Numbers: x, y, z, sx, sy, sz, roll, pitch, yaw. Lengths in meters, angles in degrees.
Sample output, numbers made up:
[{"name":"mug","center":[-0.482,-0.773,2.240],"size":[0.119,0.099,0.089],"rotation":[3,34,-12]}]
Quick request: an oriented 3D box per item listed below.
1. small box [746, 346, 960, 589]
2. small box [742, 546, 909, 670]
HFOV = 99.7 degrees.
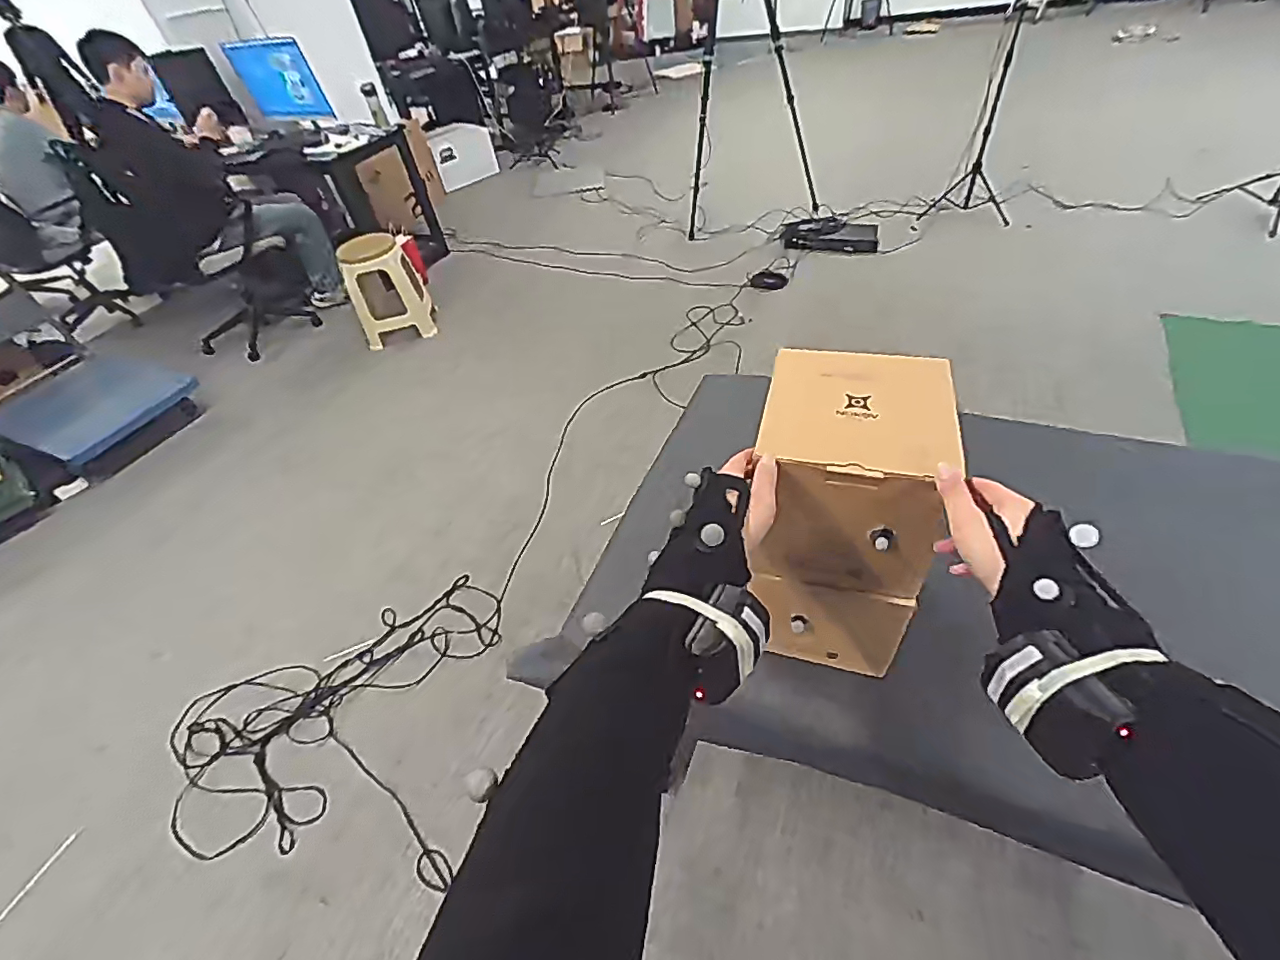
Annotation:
[{"name":"small box","center":[0.204,-0.014,0.551],"size":[0.168,0.176,0.179],"rotation":[9,46,15]},{"name":"small box","center":[0.223,0.105,0.661],"size":[0.168,0.176,0.179],"rotation":[9,48,17]}]
